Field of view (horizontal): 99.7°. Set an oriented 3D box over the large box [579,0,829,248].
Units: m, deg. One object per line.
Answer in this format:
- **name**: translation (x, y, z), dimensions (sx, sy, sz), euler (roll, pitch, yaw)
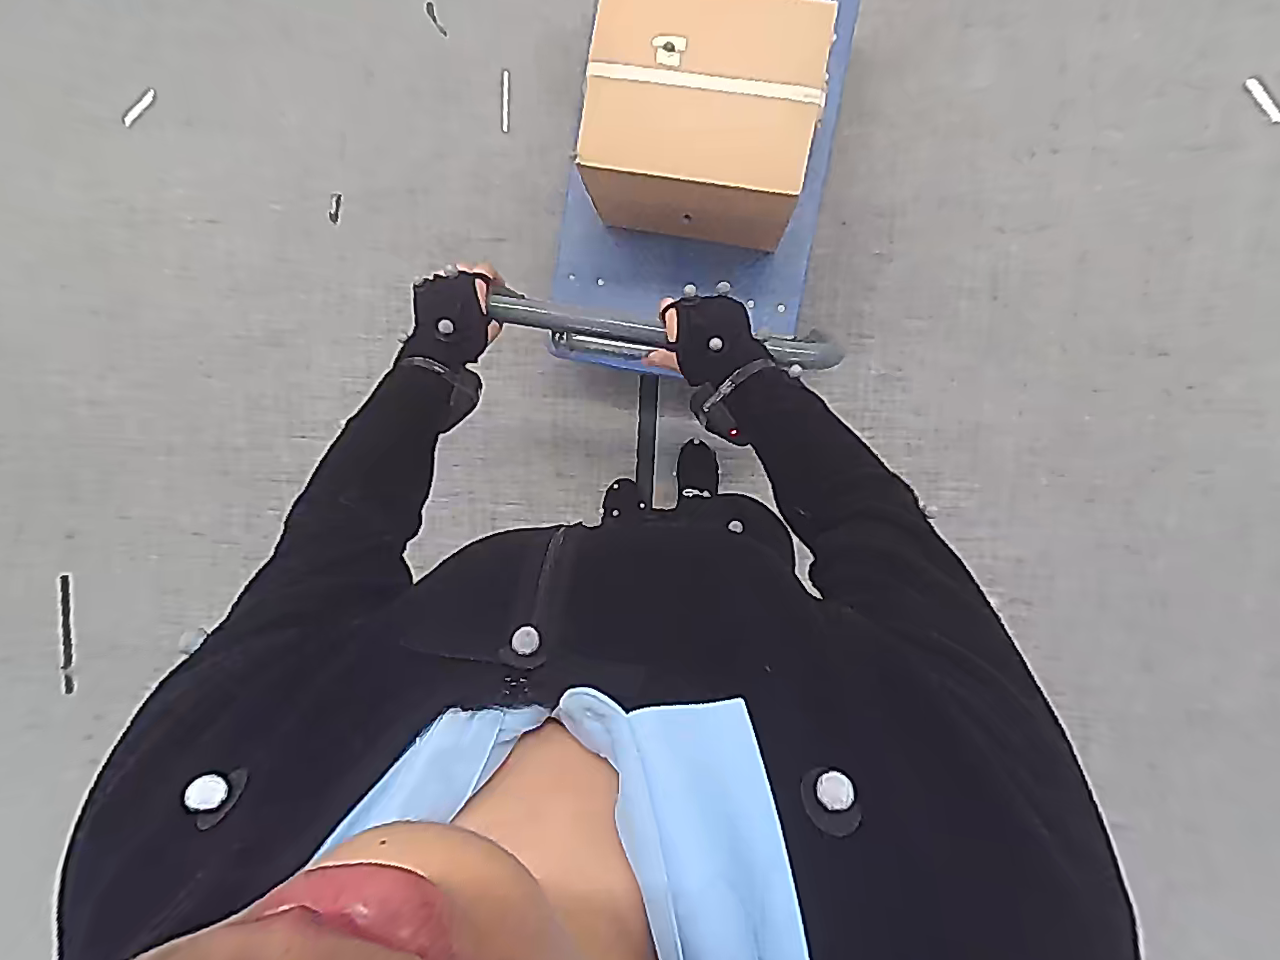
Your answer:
- **large box**: translation (0.124, -0.694, 1.099), dimensions (0.408, 0.320, 0.320), euler (11, 96, 6)
